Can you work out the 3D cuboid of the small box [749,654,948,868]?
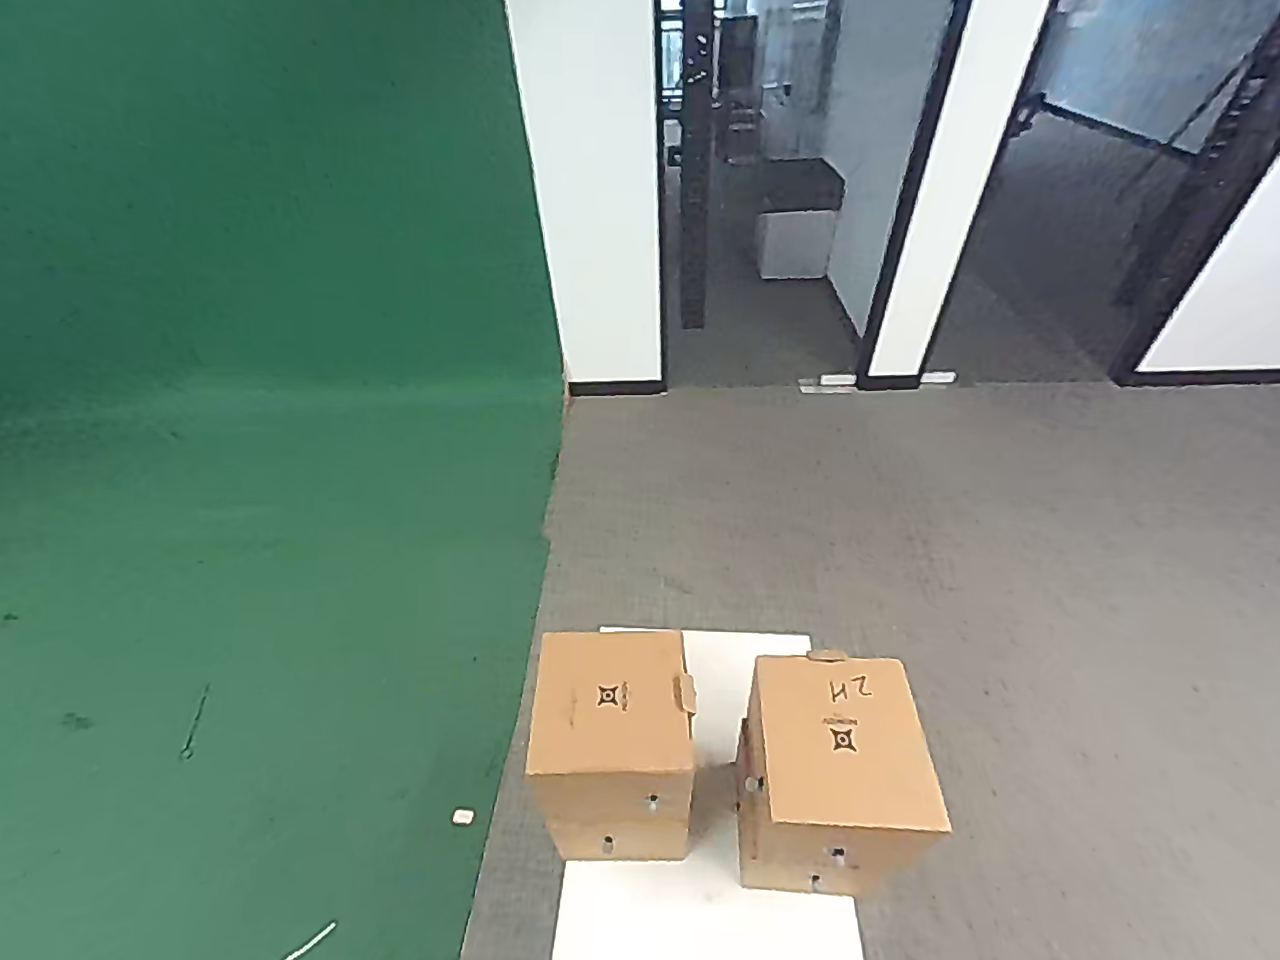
[{"bbox_3d":[0.219,0.324,0.623,0.168,0.176,0.179,1,43,5],"label":"small box"}]

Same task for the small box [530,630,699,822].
[{"bbox_3d":[-0.026,0.302,0.664,0.179,0.176,0.168,-2,42,0],"label":"small box"}]

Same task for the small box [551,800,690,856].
[{"bbox_3d":[-0.021,0.423,0.775,0.179,0.176,0.168,-1,44,1],"label":"small box"}]
